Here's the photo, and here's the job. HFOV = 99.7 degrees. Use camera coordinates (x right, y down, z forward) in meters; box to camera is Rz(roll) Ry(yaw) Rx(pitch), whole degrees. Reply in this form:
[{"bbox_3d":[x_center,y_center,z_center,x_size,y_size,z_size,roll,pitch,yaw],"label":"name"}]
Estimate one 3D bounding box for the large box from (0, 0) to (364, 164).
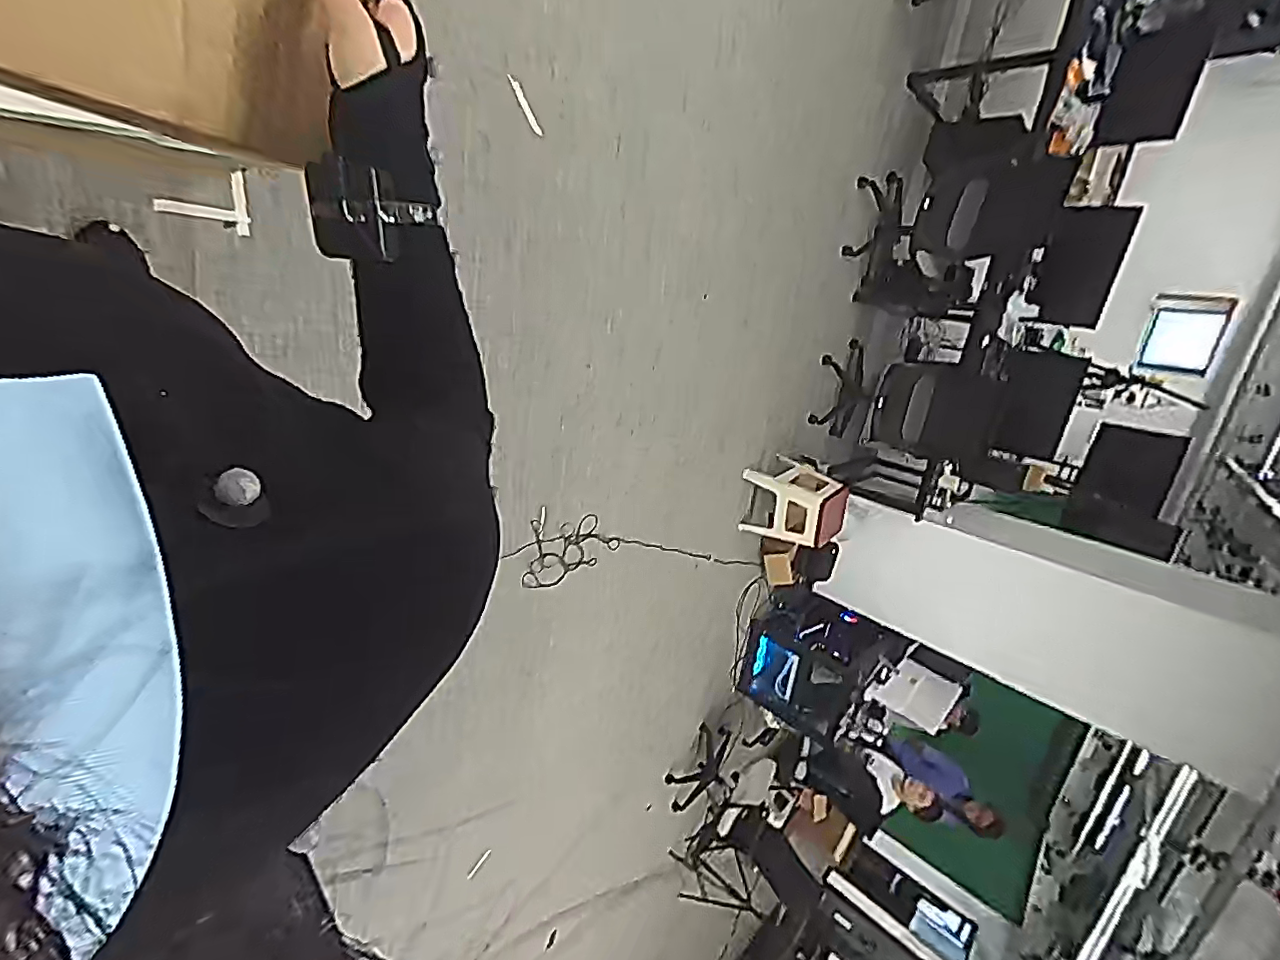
[{"bbox_3d":[-0.424,-0.427,0.322,0.408,0.320,0.320,-7,118,-47],"label":"large box"}]
